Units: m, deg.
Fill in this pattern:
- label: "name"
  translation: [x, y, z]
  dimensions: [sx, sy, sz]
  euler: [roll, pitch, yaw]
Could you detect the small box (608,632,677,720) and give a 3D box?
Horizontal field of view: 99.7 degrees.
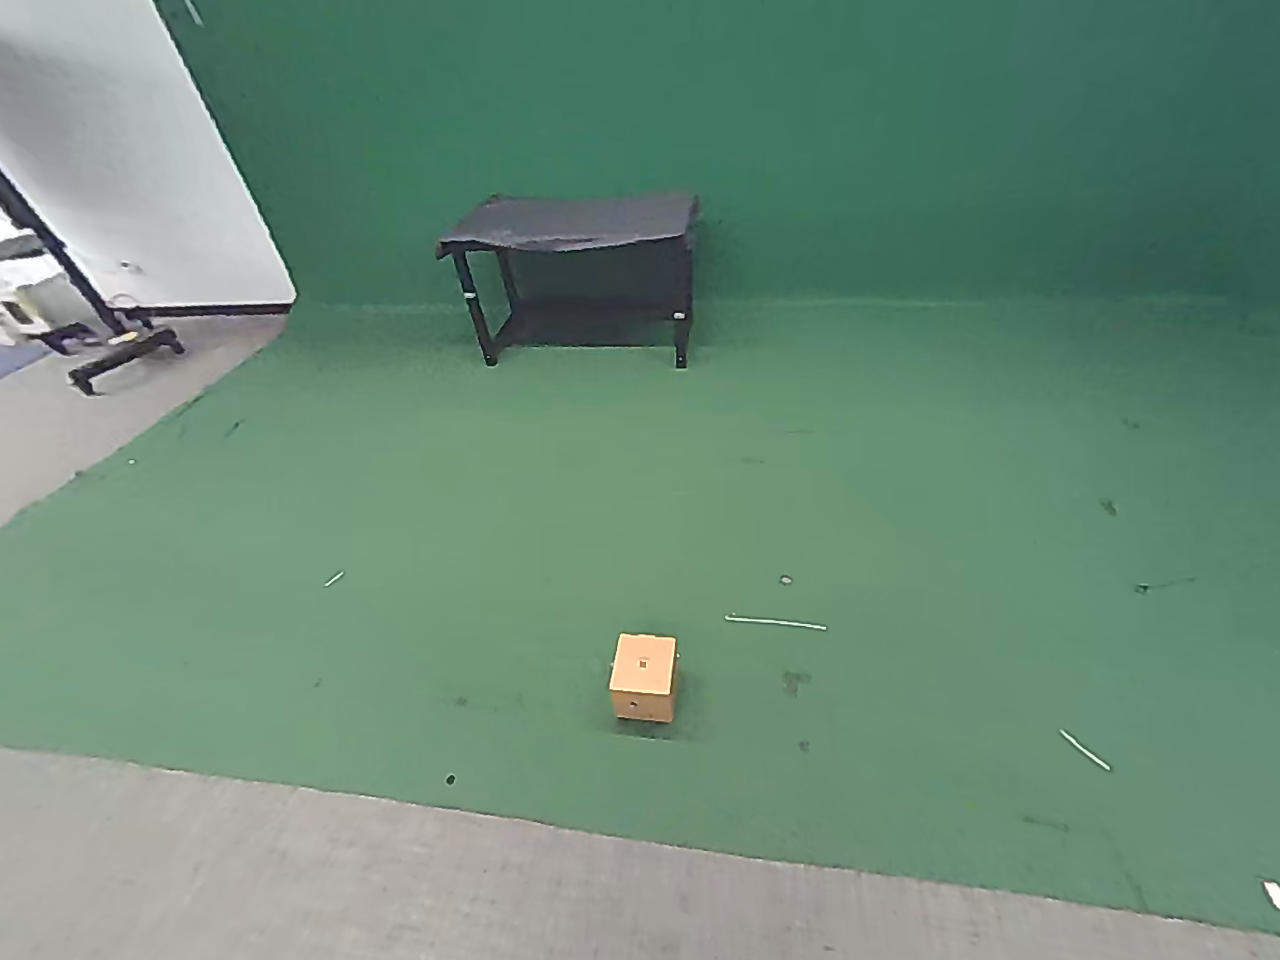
- label: "small box"
  translation: [0.015, 0.560, 1.540]
  dimensions: [0.168, 0.176, 0.179]
  euler: [2, 41, 10]
